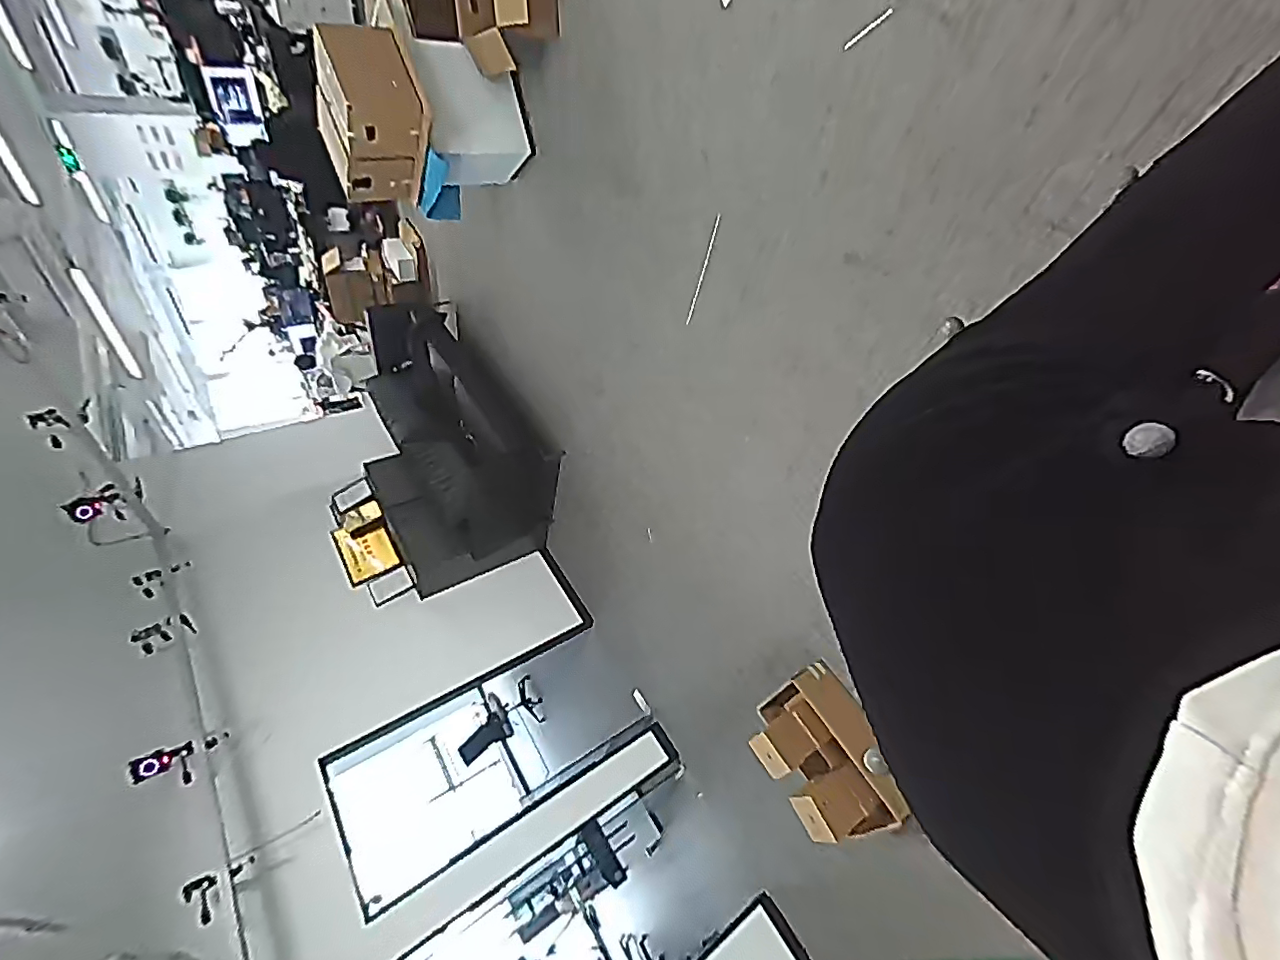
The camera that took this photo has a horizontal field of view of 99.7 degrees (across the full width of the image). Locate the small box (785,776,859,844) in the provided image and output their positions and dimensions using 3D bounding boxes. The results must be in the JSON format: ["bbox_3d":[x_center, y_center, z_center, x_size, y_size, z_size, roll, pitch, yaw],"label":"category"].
[{"bbox_3d":[0.713,1.288,2.123,0.179,0.176,0.168,59,149,19],"label":"small box"}]
